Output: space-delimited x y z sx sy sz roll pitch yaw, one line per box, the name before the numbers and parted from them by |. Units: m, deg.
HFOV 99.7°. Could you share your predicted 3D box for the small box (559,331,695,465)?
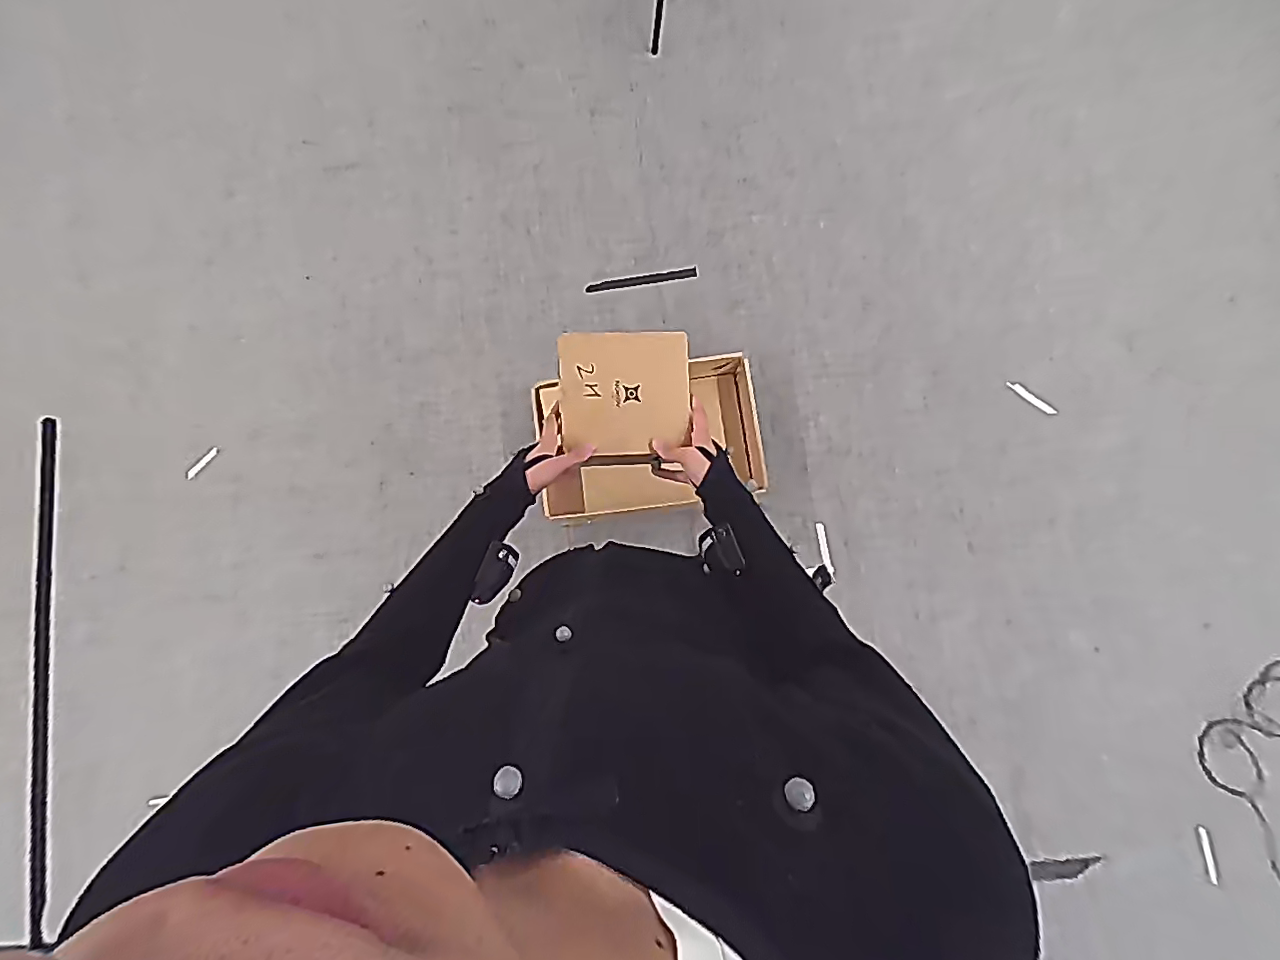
small box | -0.024 -0.110 0.784 0.179 0.176 0.168 -2 87 -5
